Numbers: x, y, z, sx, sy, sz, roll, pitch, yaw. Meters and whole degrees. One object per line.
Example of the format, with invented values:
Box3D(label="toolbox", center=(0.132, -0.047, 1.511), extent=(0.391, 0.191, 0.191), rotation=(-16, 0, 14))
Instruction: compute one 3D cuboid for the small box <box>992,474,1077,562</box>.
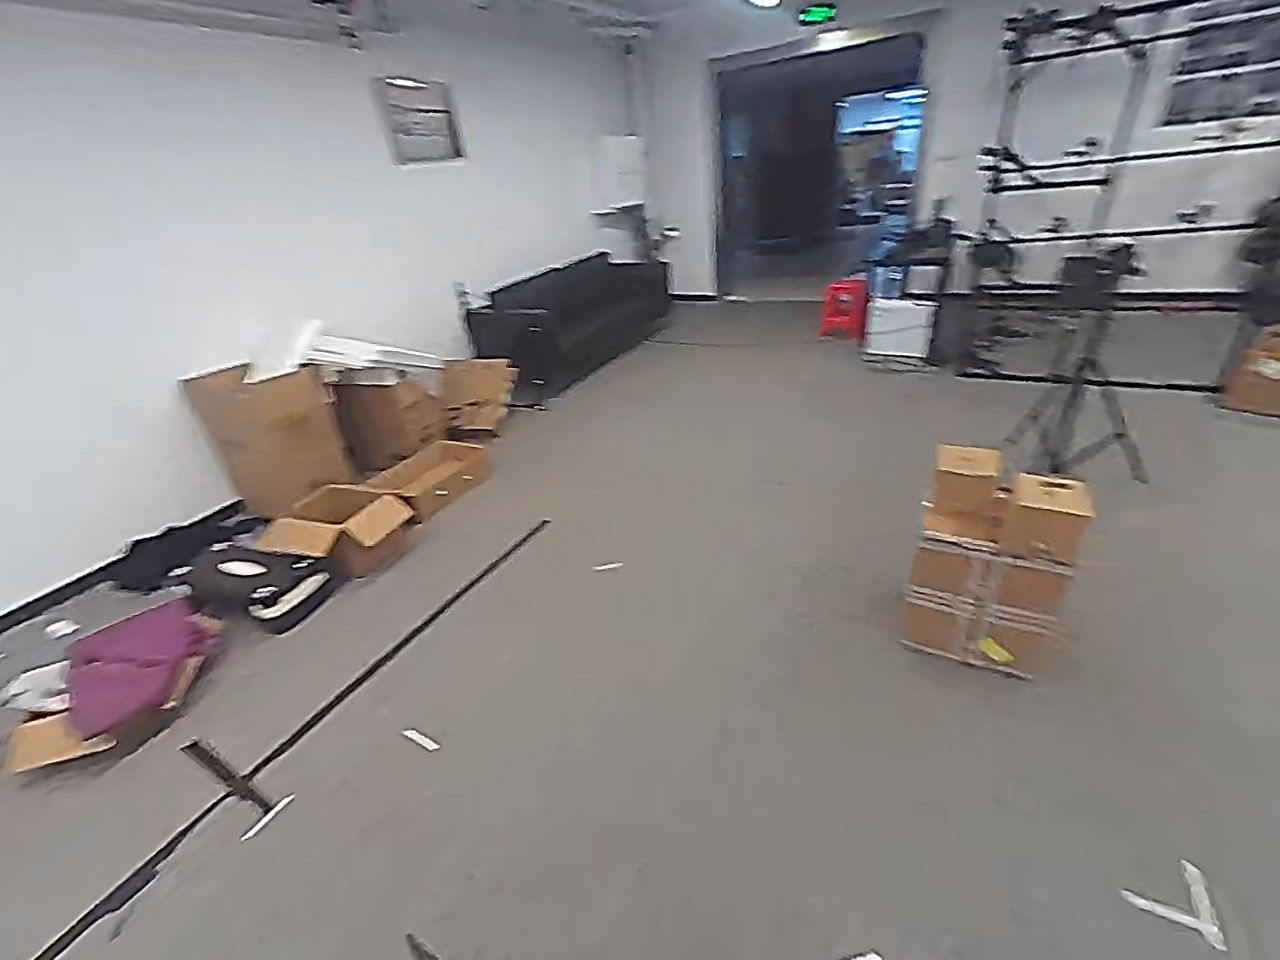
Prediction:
Box3D(label="small box", center=(1.139, 0.108, 1.571), extent=(0.168, 0.176, 0.179), rotation=(11, 37, 28))

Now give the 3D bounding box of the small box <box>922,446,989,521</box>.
Box3D(label="small box", center=(1.025, 0.009, 1.762), extent=(0.168, 0.176, 0.179), rotation=(9, 35, 29))
